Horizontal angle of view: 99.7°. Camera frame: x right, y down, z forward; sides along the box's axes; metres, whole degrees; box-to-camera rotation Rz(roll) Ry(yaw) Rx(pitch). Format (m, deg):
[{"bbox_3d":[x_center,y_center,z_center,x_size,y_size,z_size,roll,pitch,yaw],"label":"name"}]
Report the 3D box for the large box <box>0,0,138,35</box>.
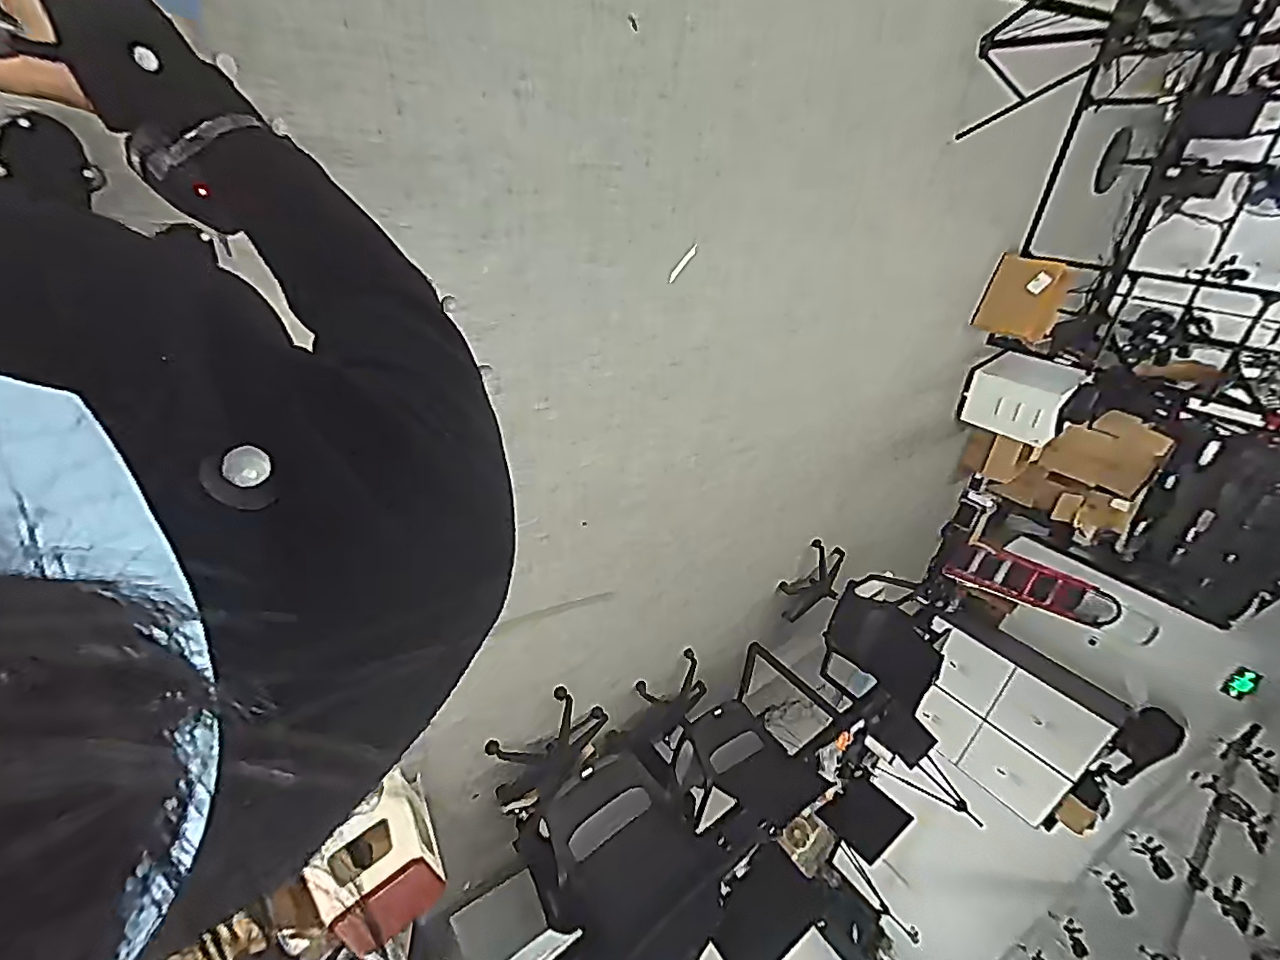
[{"bbox_3d":[-0.798,-0.709,0.532,0.408,0.320,0.320,-11,124,-39],"label":"large box"}]
